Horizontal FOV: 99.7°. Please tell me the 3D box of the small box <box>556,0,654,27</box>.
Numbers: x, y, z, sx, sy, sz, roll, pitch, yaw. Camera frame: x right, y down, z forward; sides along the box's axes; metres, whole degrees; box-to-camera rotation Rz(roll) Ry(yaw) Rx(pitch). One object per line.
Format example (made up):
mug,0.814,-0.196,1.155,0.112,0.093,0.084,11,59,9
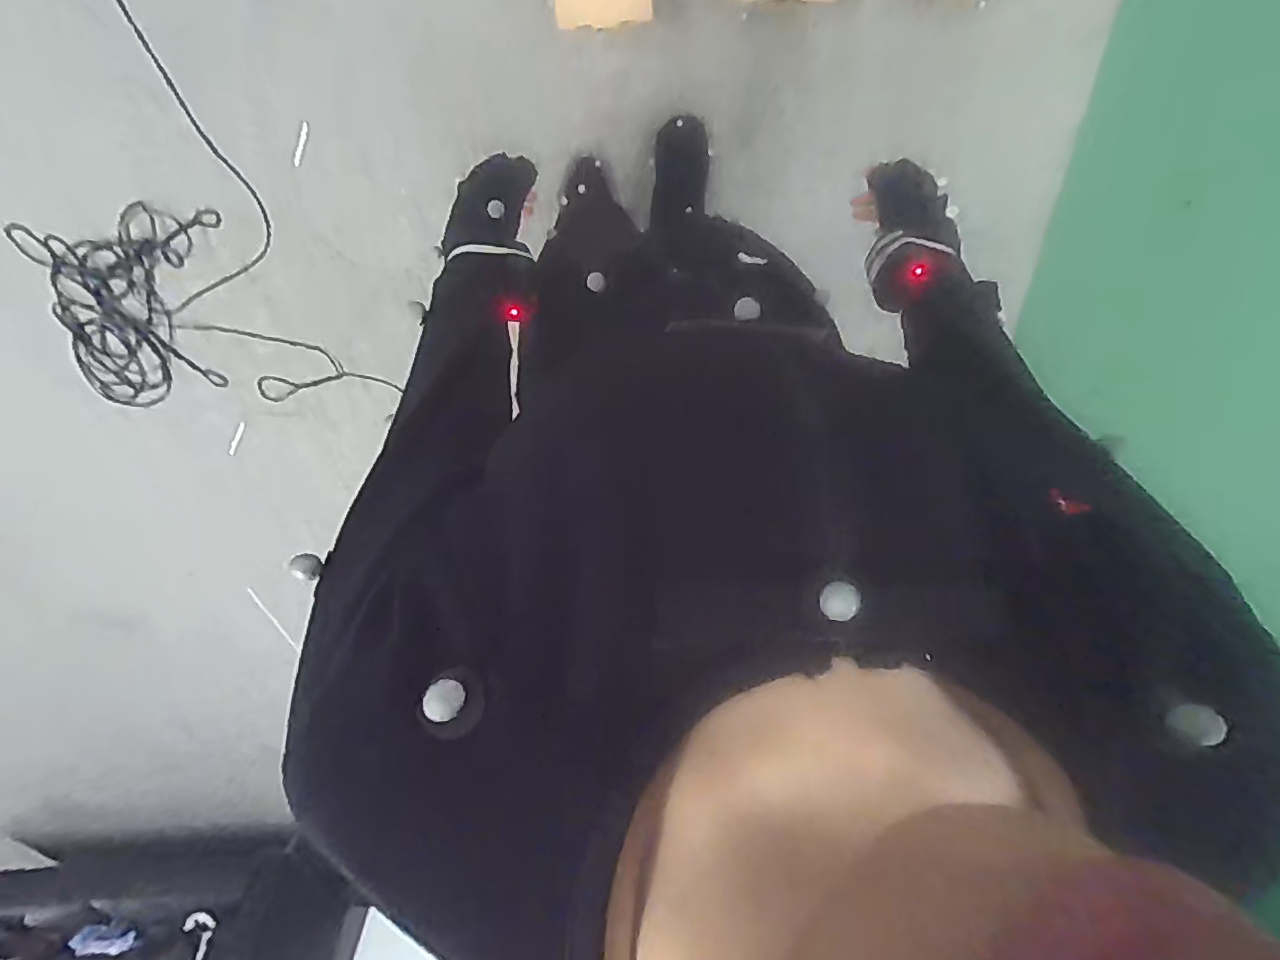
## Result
small box,-0.065,-0.902,0.927,0.168,0.176,0.179,-3,128,3
